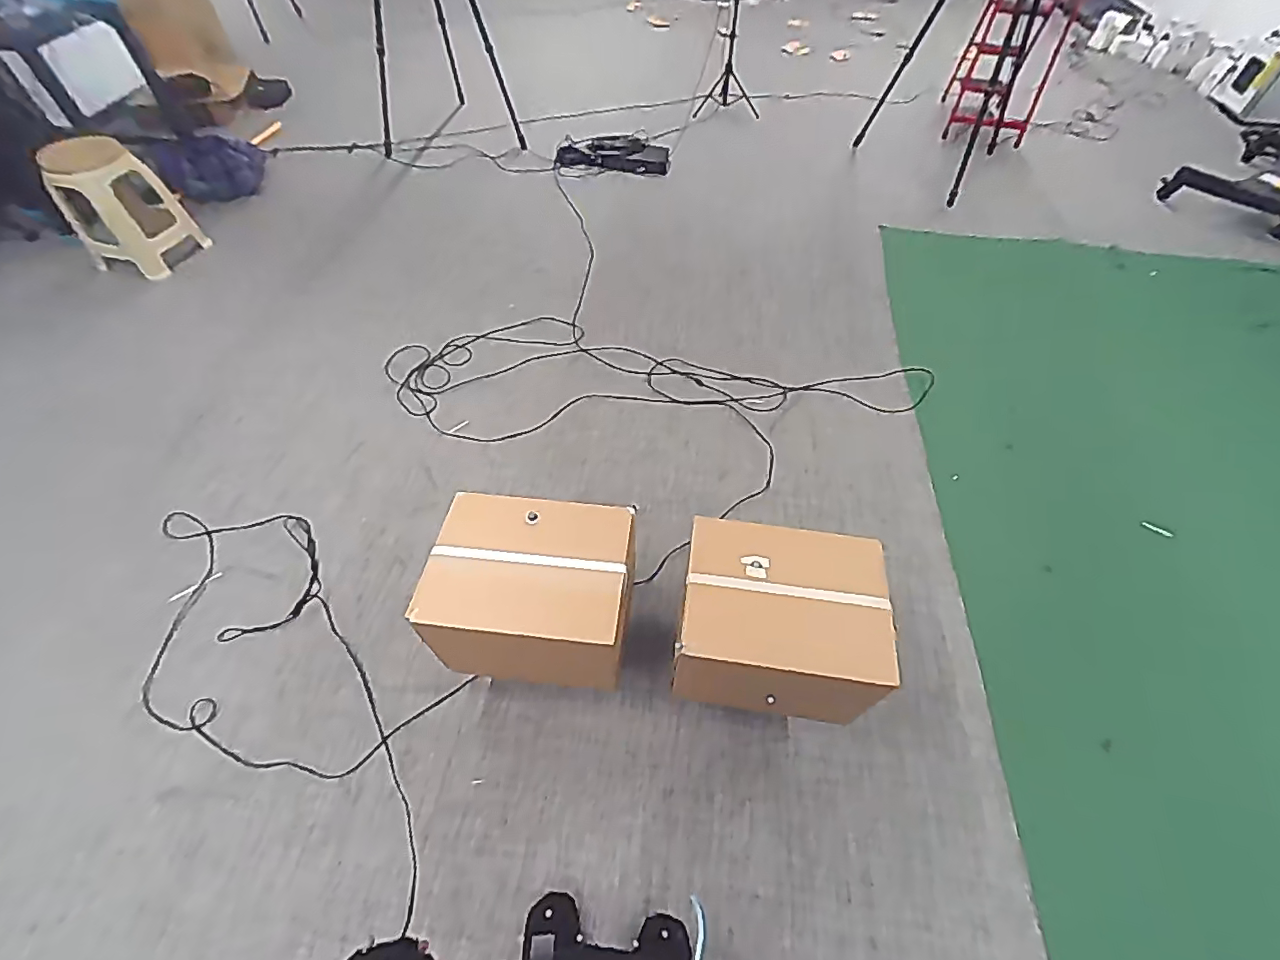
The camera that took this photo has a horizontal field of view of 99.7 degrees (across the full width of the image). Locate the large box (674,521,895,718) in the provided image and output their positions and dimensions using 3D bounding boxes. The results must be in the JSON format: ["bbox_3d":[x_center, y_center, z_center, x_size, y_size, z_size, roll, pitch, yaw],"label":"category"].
[{"bbox_3d":[0.299,0.322,1.220,0.408,0.320,0.320,7,54,5],"label":"large box"}]
